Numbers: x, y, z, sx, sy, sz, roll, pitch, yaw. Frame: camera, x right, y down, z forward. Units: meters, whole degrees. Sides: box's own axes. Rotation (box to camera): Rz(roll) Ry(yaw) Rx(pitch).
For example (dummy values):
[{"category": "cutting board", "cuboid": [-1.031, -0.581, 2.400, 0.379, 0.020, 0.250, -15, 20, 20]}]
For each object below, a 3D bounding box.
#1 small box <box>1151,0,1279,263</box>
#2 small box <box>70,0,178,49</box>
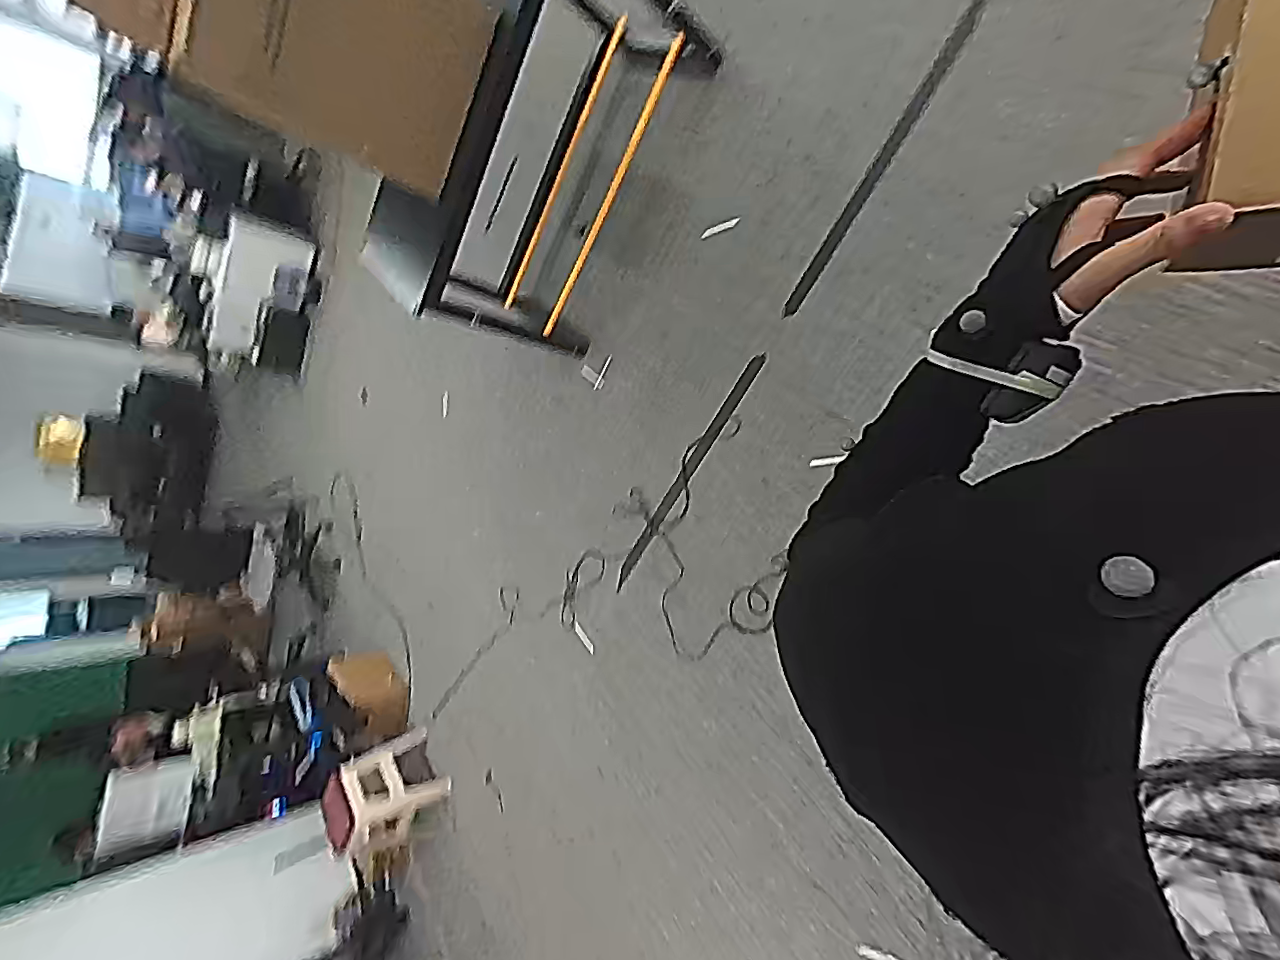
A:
[{"category": "small box", "cuboid": [0.419, -0.238, 0.304, 0.168, 0.176, 0.179, 8, 102, 37]}, {"category": "small box", "cuboid": [-1.182, -1.136, 1.242, 0.179, 0.176, 0.168, 45, 115, 35]}]
